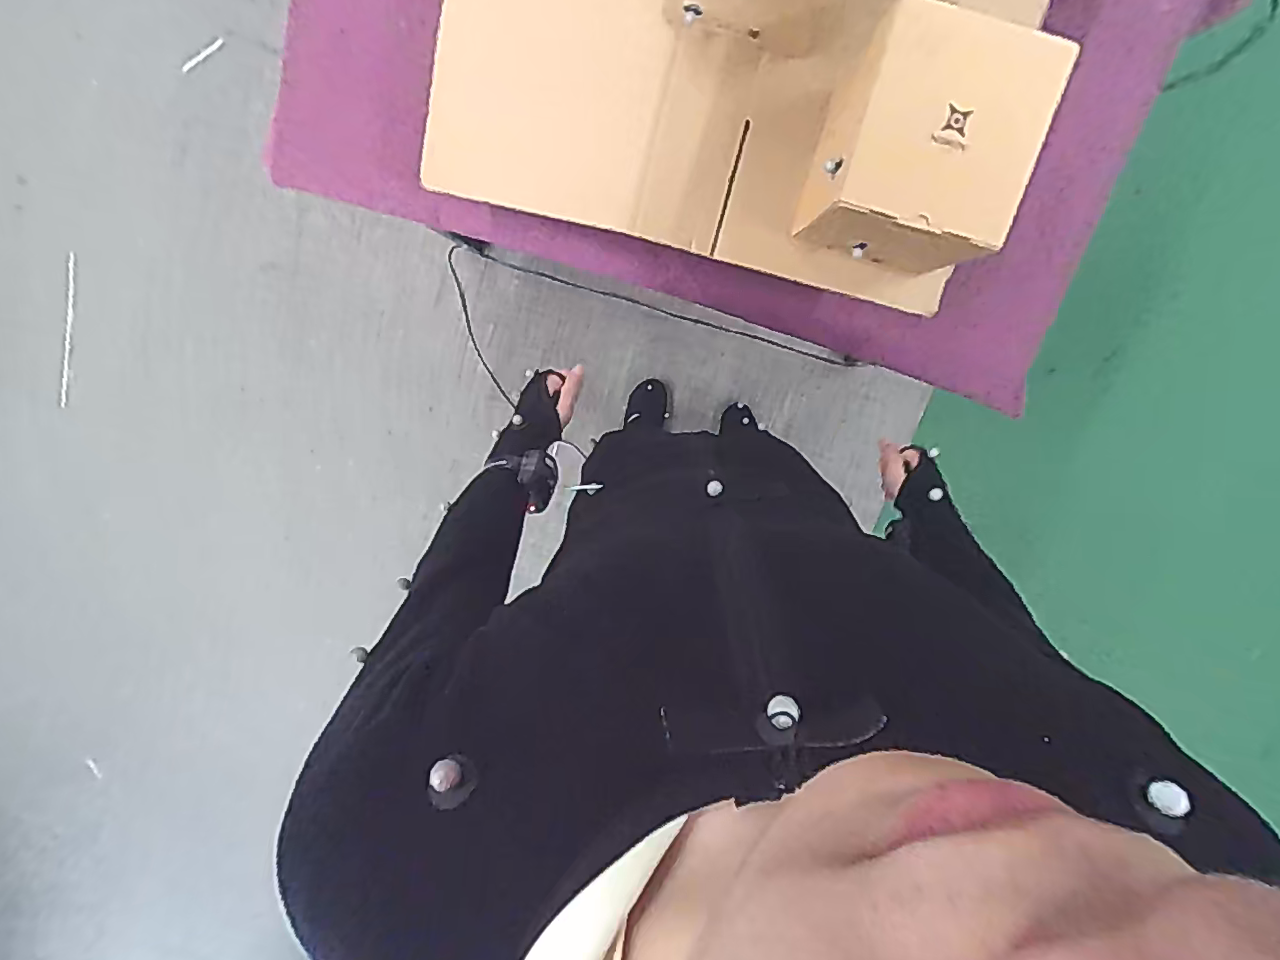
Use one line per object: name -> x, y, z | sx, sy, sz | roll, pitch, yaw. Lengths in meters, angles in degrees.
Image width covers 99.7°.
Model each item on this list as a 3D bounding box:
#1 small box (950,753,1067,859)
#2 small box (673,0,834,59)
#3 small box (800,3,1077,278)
small box -> 1.022, 0.905, 1.515 | 0.179, 0.176, 0.168 | 20, 101, -1
small box -> 0.129, -0.555, 0.515 | 0.168, 0.176, 0.179 | 14, 101, -3
small box -> 0.287, -0.329, 0.567 | 0.168, 0.176, 0.179 | 14, 103, -3
